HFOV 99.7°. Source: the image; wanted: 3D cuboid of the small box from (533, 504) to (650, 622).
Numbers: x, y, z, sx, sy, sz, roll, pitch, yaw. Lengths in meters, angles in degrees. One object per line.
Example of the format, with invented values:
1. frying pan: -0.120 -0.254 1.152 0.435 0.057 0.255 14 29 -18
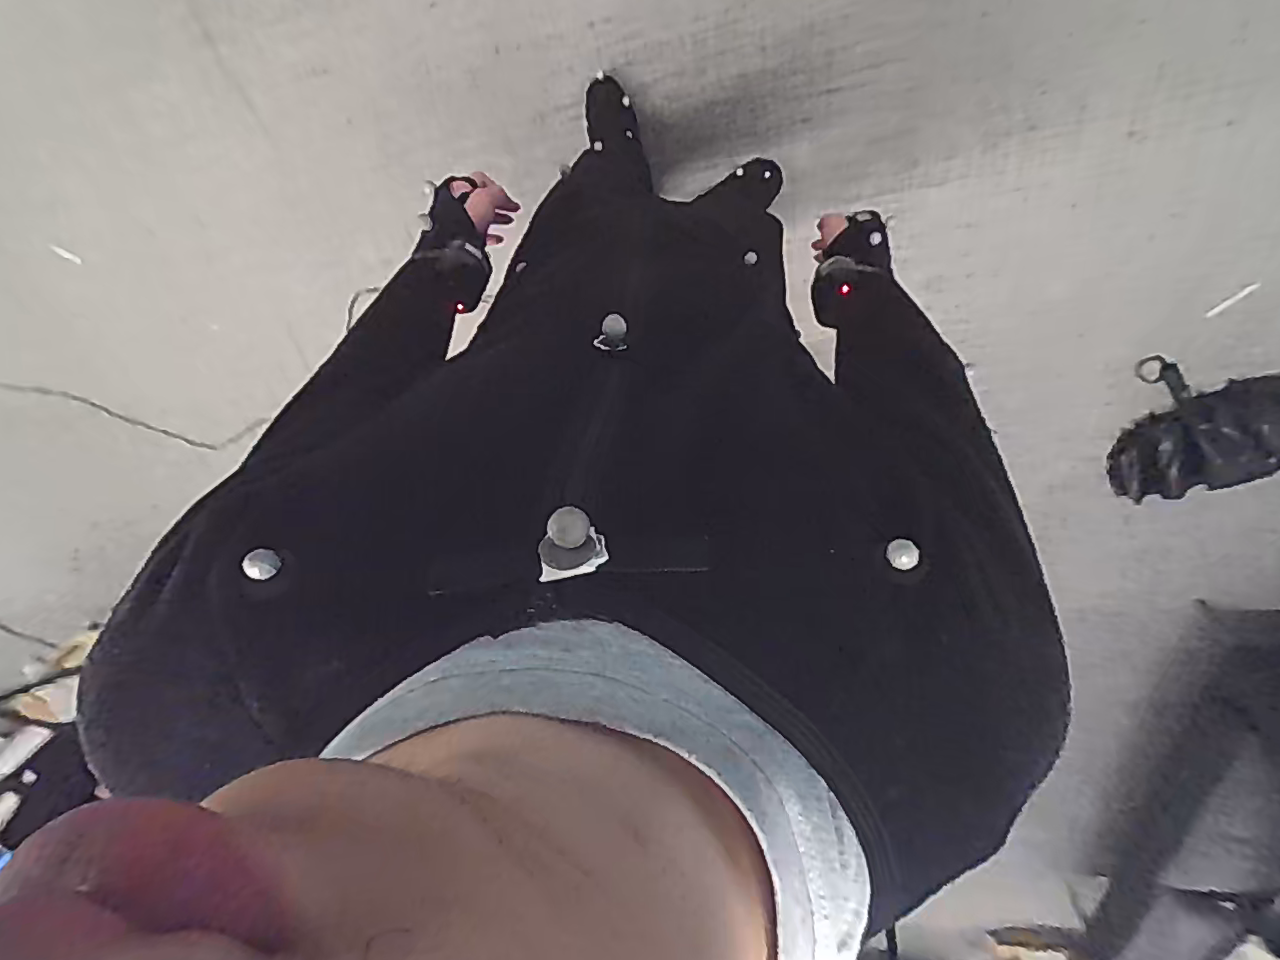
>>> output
1. small box: -0.088 0.176 1.097 0.168 0.176 0.179 -12 123 18

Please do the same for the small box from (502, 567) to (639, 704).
1. small box: -0.113 0.271 0.965 0.168 0.176 0.179 -11 123 18
